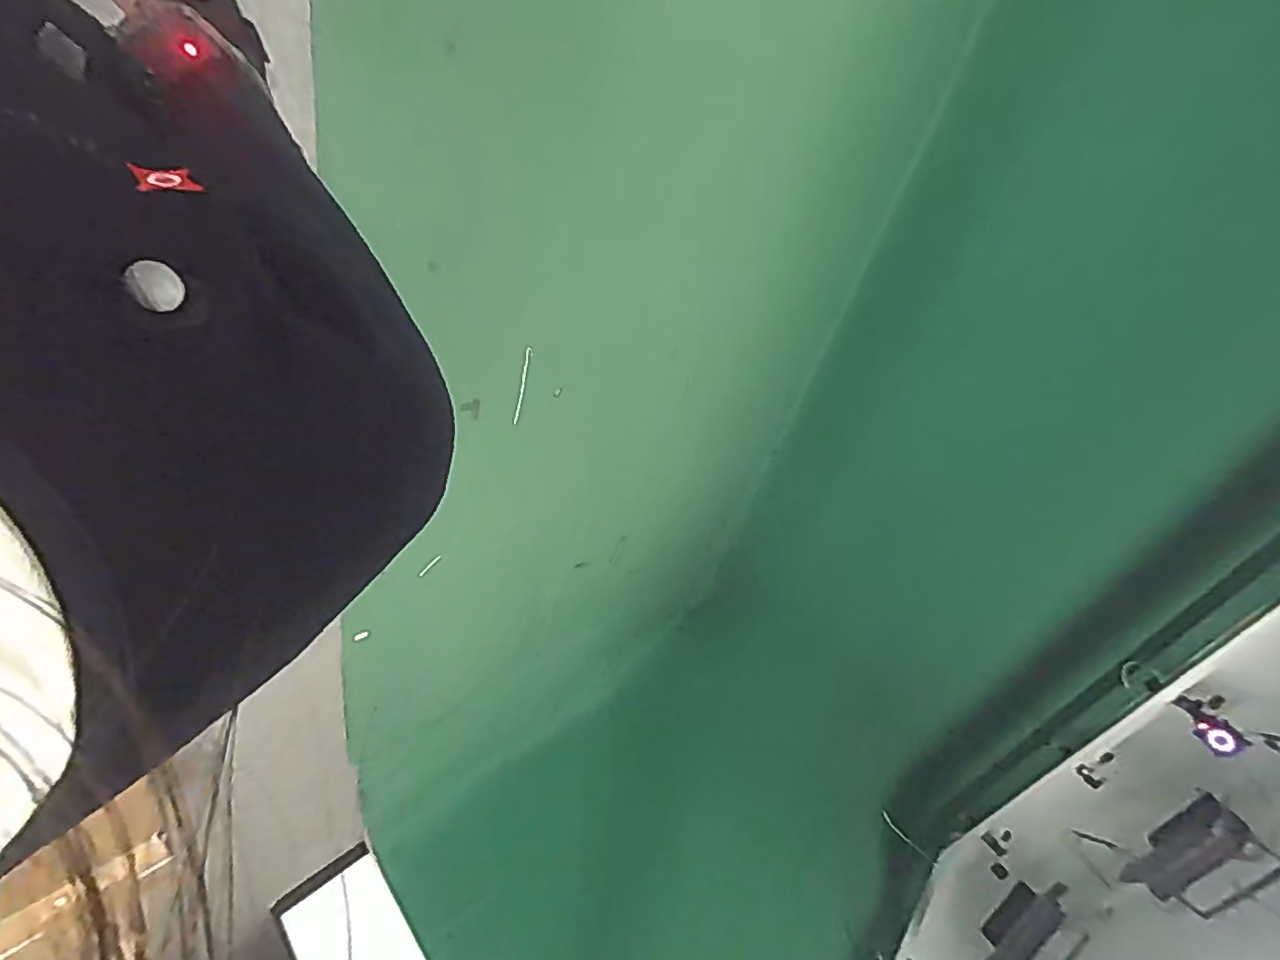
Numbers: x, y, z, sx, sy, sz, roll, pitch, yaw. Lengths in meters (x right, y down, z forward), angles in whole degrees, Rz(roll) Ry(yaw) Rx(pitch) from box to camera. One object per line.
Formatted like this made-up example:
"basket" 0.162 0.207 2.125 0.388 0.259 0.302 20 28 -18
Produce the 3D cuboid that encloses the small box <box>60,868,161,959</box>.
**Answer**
"small box" -1.476 1.246 1.506 0.179 0.176 0.168 -15 131 -48
